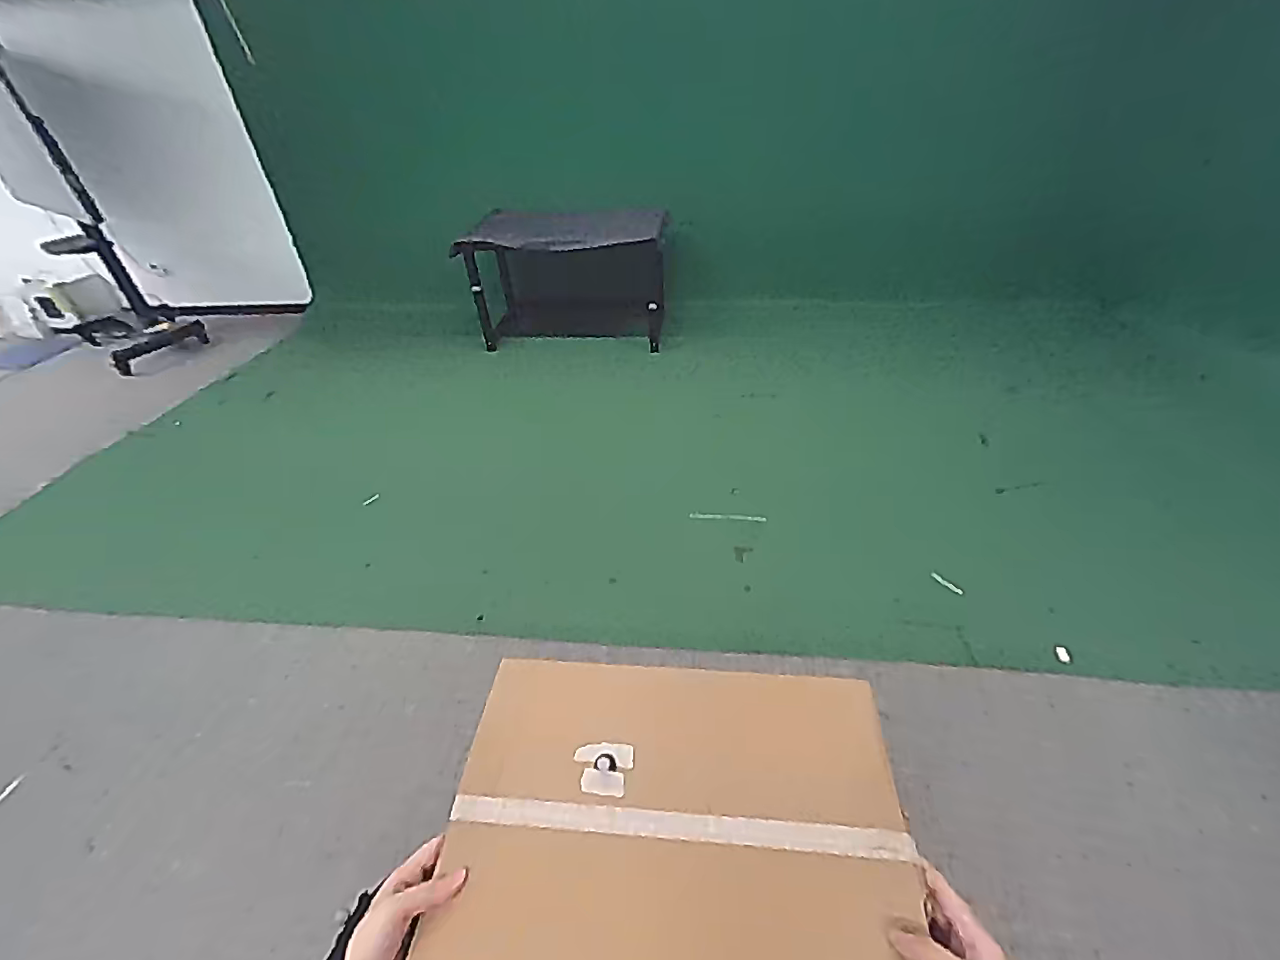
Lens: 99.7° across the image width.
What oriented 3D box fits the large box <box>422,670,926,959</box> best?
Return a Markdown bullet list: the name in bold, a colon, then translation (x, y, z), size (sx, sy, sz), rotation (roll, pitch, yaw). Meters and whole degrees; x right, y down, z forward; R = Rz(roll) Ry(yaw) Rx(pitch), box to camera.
- **large box**: translation (0.043, 0.430, 0.590), size (0.408, 0.320, 0.320), rotation (-1, 40, 8)
